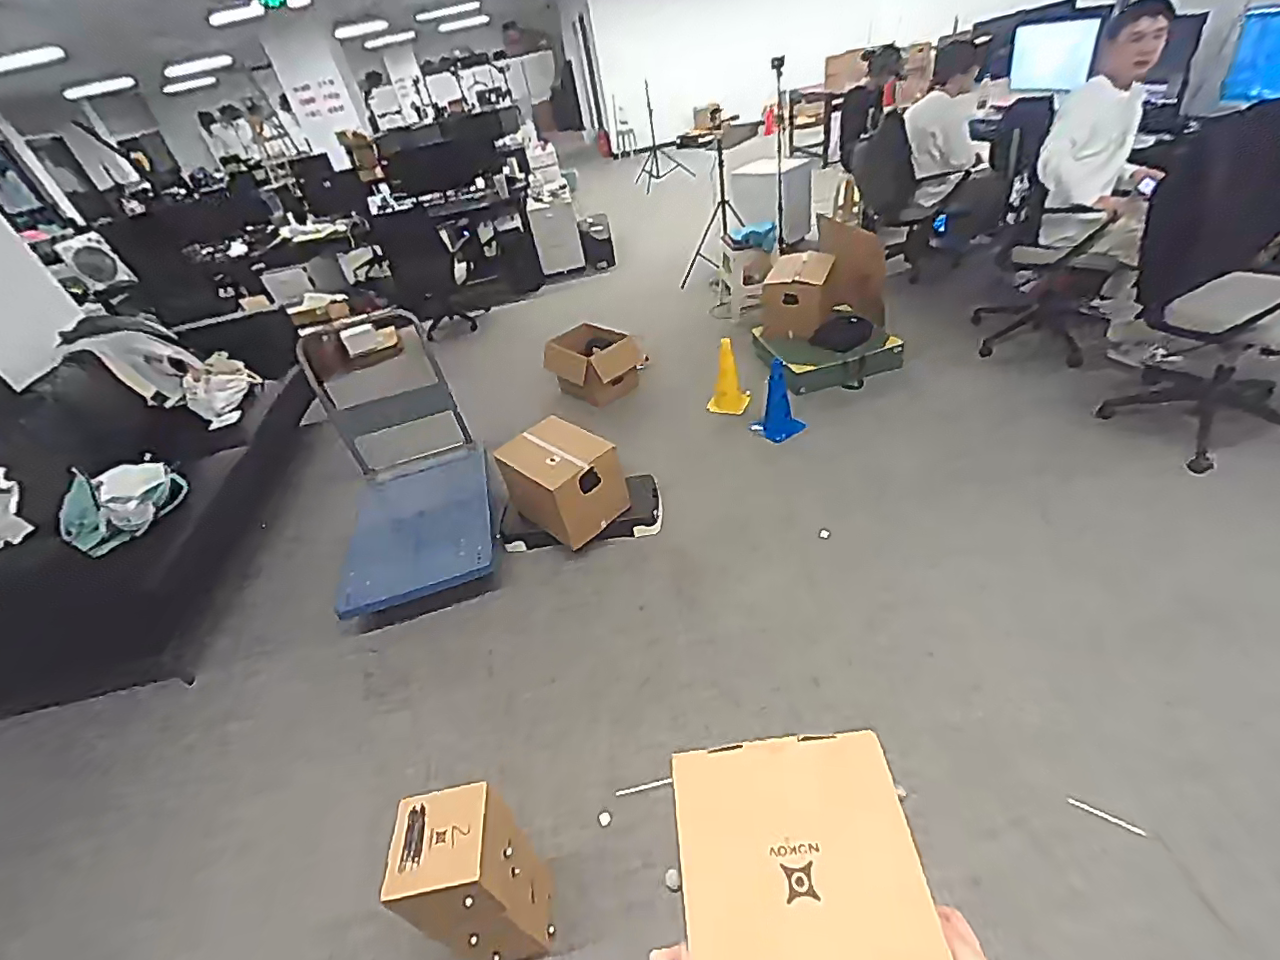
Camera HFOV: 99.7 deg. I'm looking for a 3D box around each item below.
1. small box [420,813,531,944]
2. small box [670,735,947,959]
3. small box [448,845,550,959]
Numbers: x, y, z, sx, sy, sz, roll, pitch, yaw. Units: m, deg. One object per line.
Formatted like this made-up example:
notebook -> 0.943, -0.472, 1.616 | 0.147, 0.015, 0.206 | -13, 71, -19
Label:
small box -> -0.331, 0.833, 1.124 | 0.168, 0.176, 0.179 | -12, 38, 0
small box -> 0.124, 0.330, 0.431 | 0.168, 0.176, 0.179 | -10, 45, 5
small box -> -0.308, 0.961, 1.225 | 0.179, 0.176, 0.168 | -13, 38, 0
